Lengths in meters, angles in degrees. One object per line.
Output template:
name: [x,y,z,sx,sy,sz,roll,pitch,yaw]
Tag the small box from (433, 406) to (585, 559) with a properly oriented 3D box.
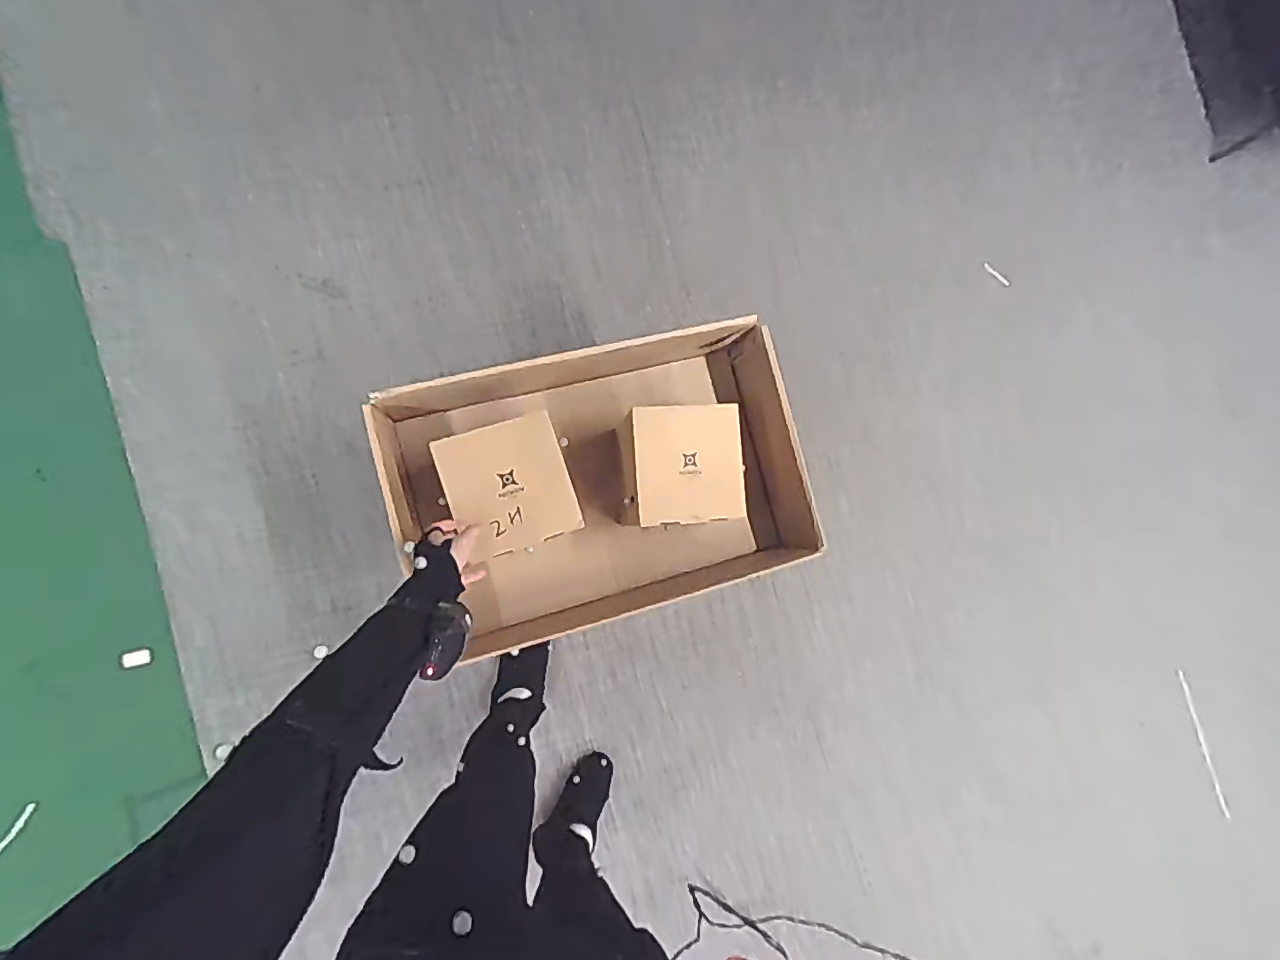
small box: [-0.192,0.008,0.808,0.168,0.176,0.179,-18,89,-12]
